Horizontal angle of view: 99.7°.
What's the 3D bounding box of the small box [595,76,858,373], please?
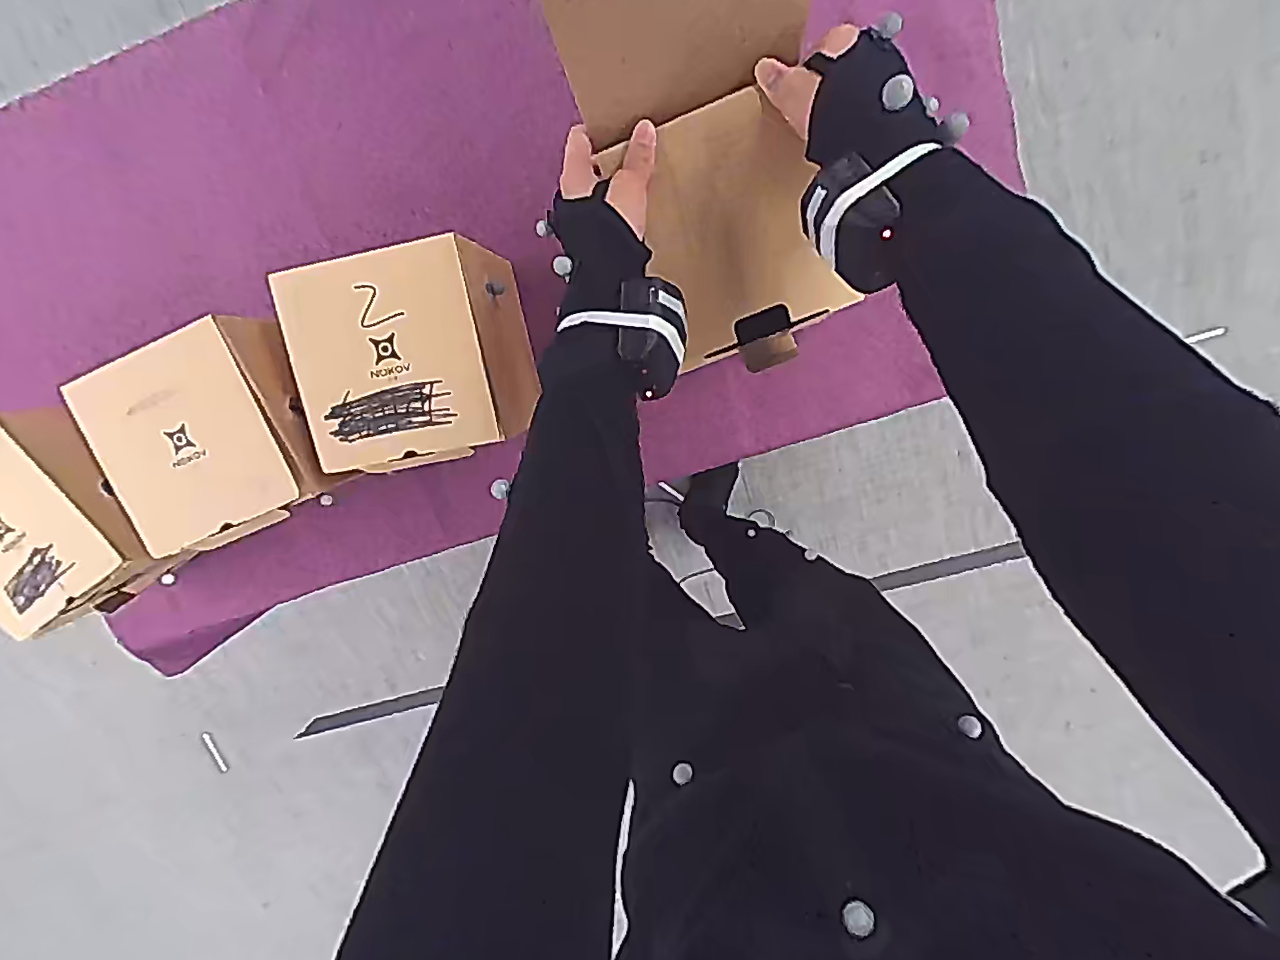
[{"bbox_3d":[0.073,-0.208,0.499,0.168,0.176,0.179,-19,97,8],"label":"small box"}]
